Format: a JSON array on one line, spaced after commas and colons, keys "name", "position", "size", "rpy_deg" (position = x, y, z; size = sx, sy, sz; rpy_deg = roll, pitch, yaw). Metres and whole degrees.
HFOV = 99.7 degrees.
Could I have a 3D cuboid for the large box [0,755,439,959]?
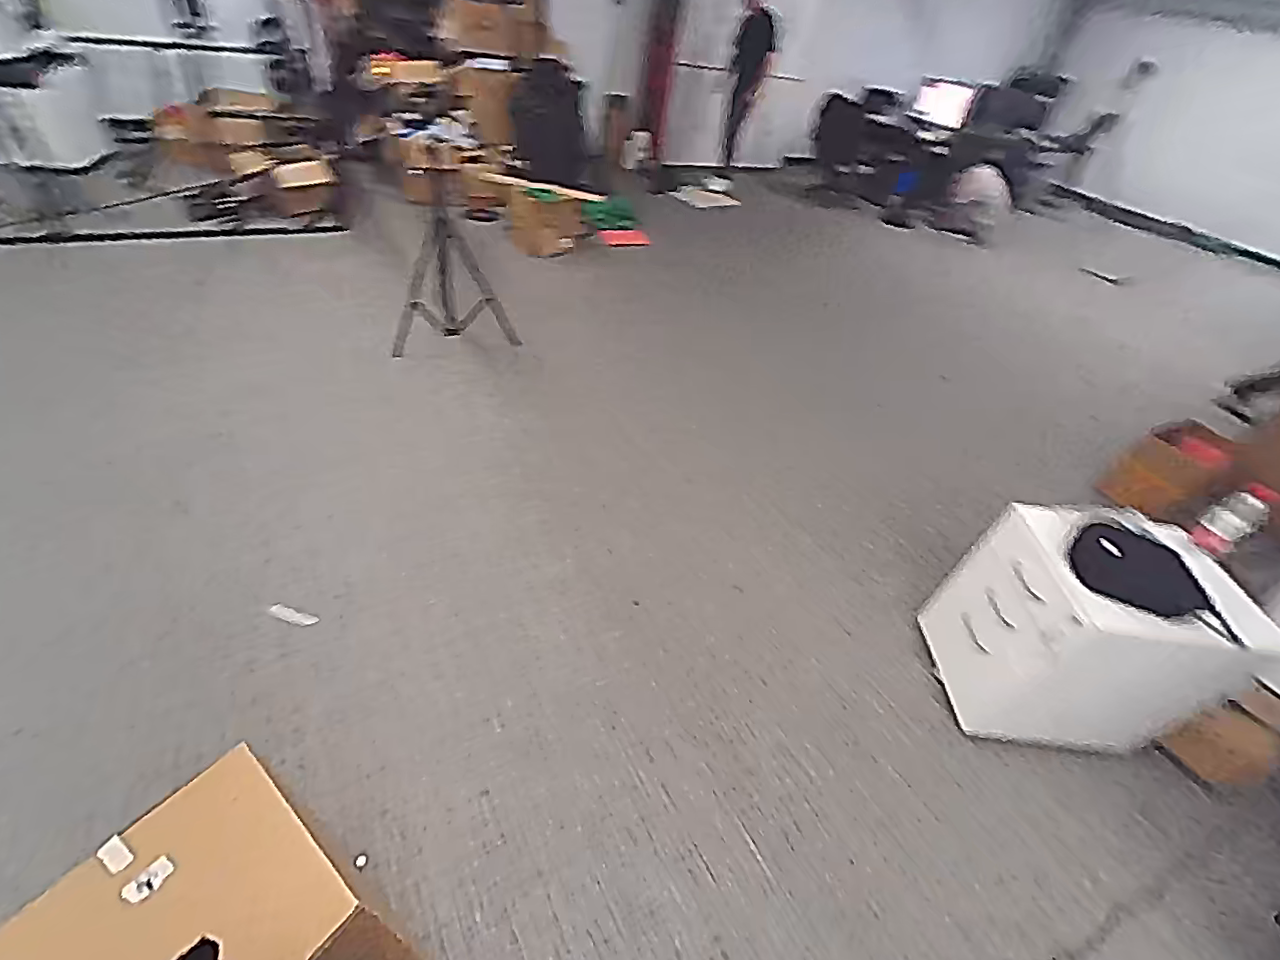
[{"name": "large box", "position": [-0.505, 0.646, 0.687], "size": [0.320, 0.408, 0.320], "rpy_deg": [22, 45, 32]}]
